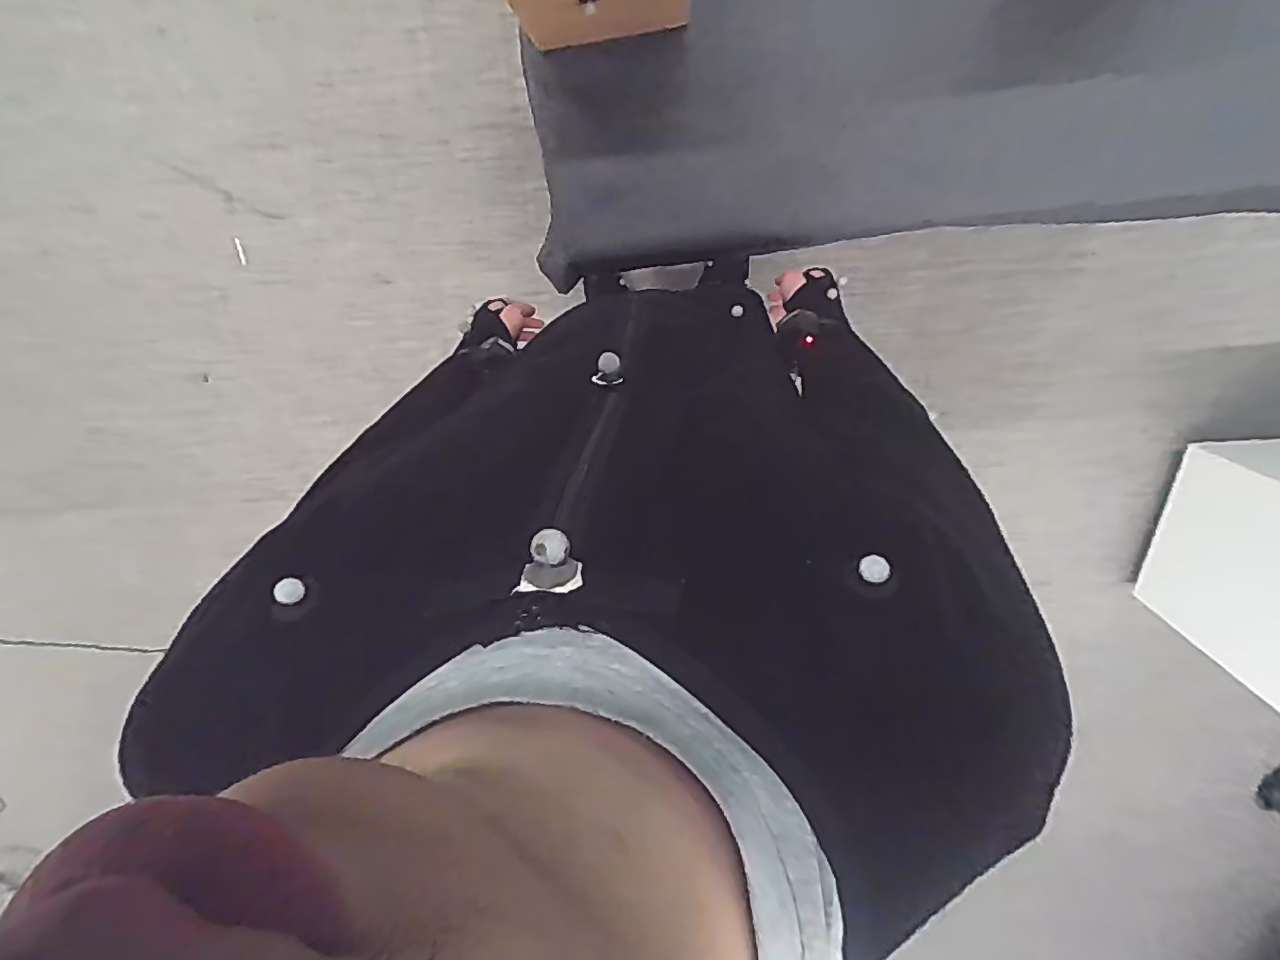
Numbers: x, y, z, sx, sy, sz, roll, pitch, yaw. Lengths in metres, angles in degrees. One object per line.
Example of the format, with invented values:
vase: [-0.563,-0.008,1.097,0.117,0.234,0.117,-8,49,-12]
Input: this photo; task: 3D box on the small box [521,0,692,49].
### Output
small box: [-0.039,-0.534,0.501,0.179,0.176,0.168,-8,113,3]
